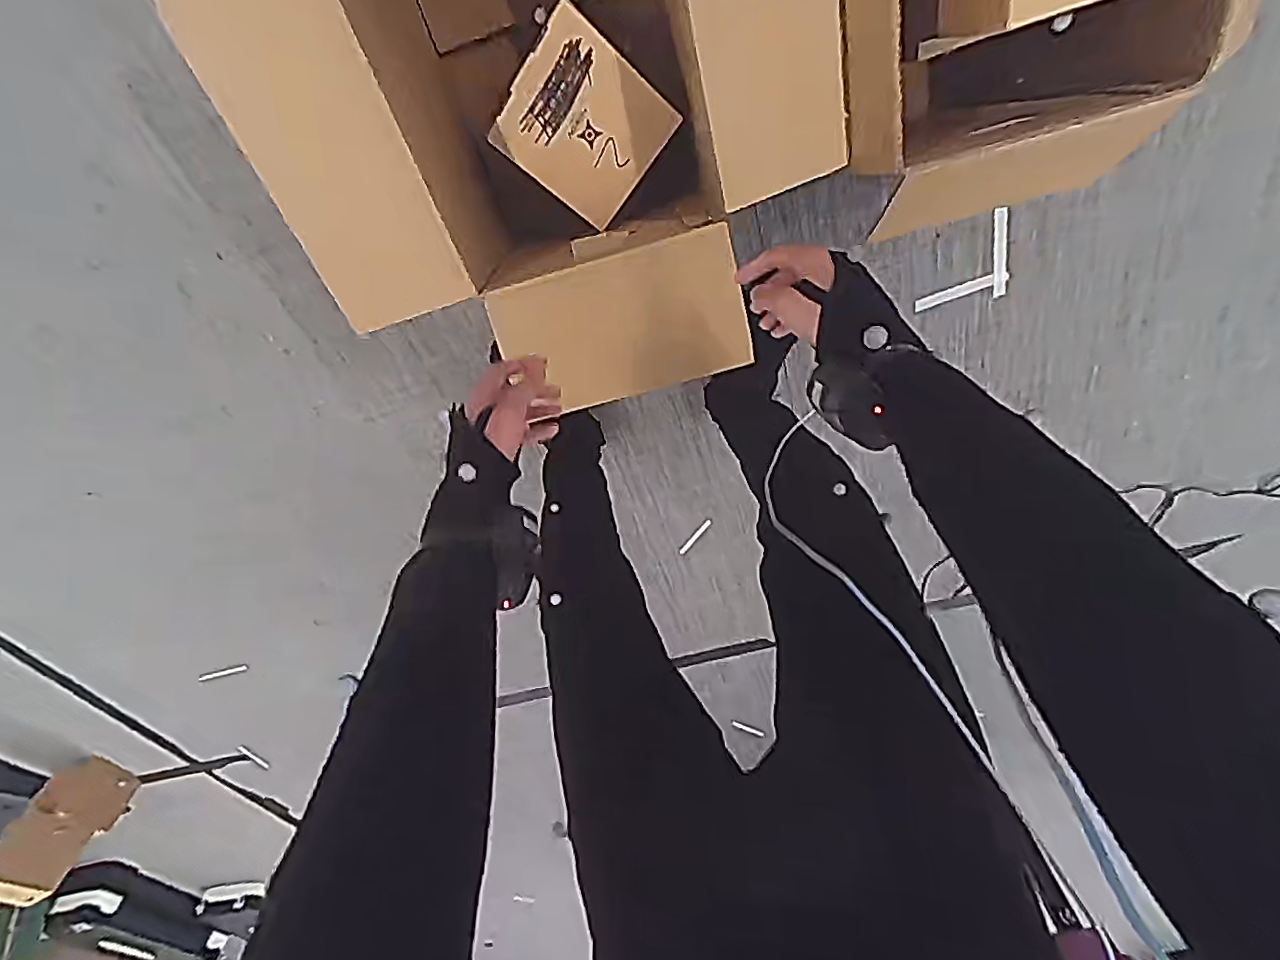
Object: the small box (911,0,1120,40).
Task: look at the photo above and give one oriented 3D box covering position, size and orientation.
[{"bbox_3d":[0.373,-0.522,0.483,0.179,0.176,0.168,-14,127,6],"label":"small box"}]
